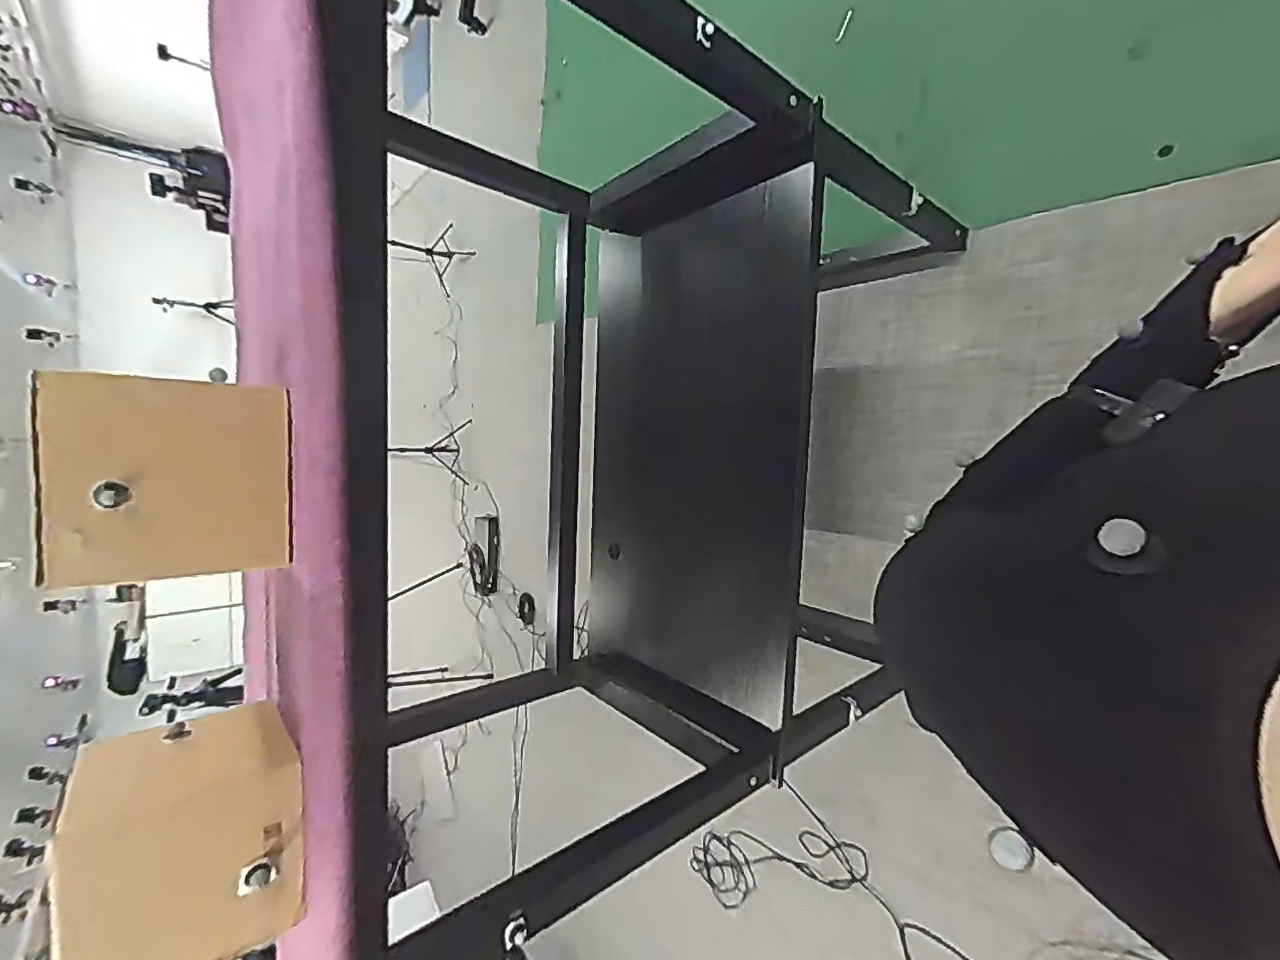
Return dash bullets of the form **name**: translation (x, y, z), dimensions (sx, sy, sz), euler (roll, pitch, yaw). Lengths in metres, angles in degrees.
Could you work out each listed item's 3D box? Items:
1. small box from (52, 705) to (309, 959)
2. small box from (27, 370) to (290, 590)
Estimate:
- **small box**: translation (-0.436, 0.342, 0.528), dimensions (0.179, 0.176, 0.168), euler (2, 94, 48)
- **small box**: translation (-0.448, -0.009, 0.528), dimensions (0.168, 0.176, 0.179), euler (9, 97, 50)
